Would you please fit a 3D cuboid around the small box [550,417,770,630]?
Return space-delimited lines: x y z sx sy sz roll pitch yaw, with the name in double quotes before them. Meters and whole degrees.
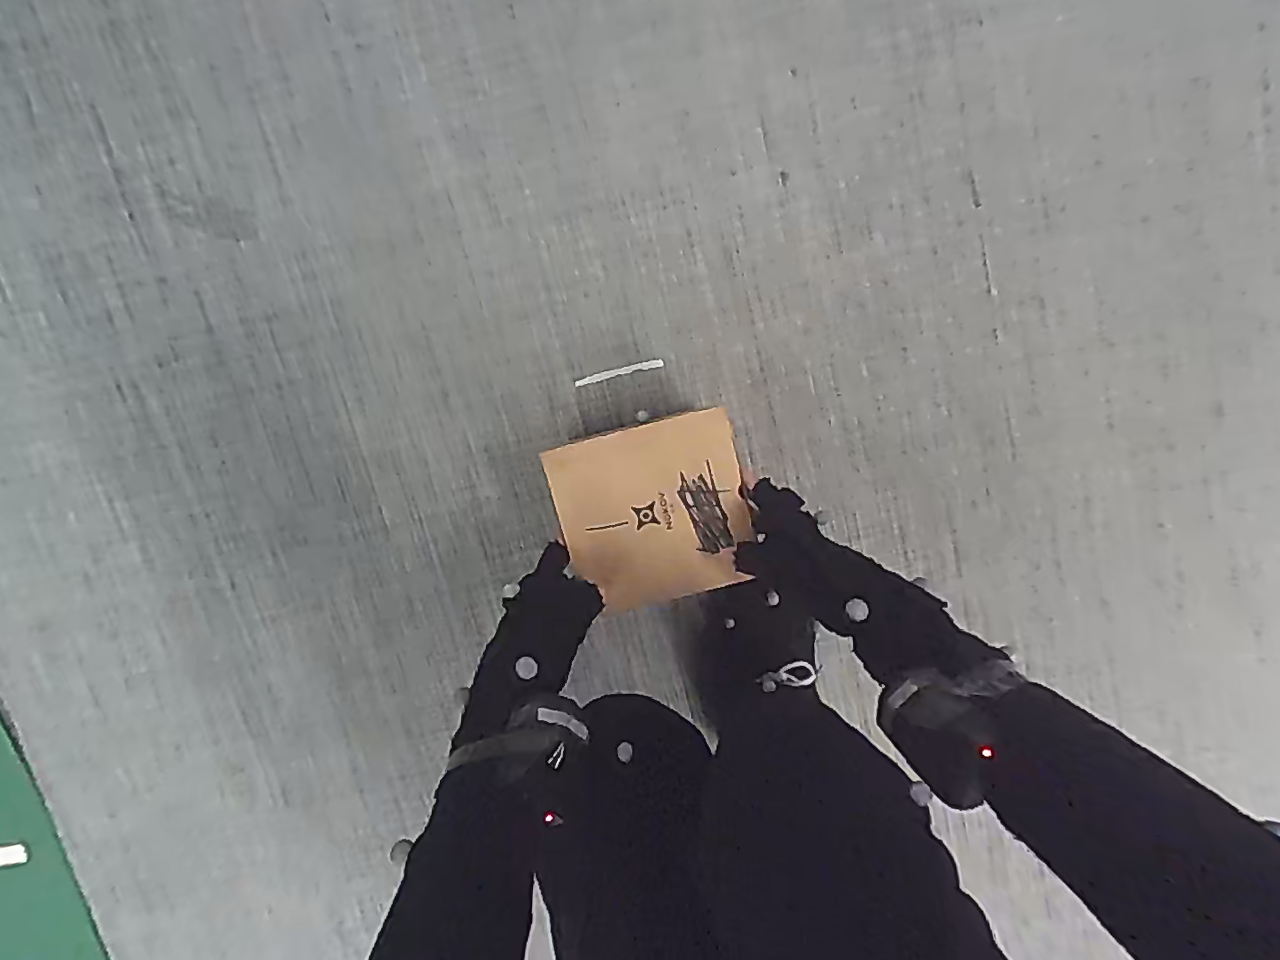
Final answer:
"small box" 0.016 0.032 0.583 0.179 0.176 0.168 -17 96 0
